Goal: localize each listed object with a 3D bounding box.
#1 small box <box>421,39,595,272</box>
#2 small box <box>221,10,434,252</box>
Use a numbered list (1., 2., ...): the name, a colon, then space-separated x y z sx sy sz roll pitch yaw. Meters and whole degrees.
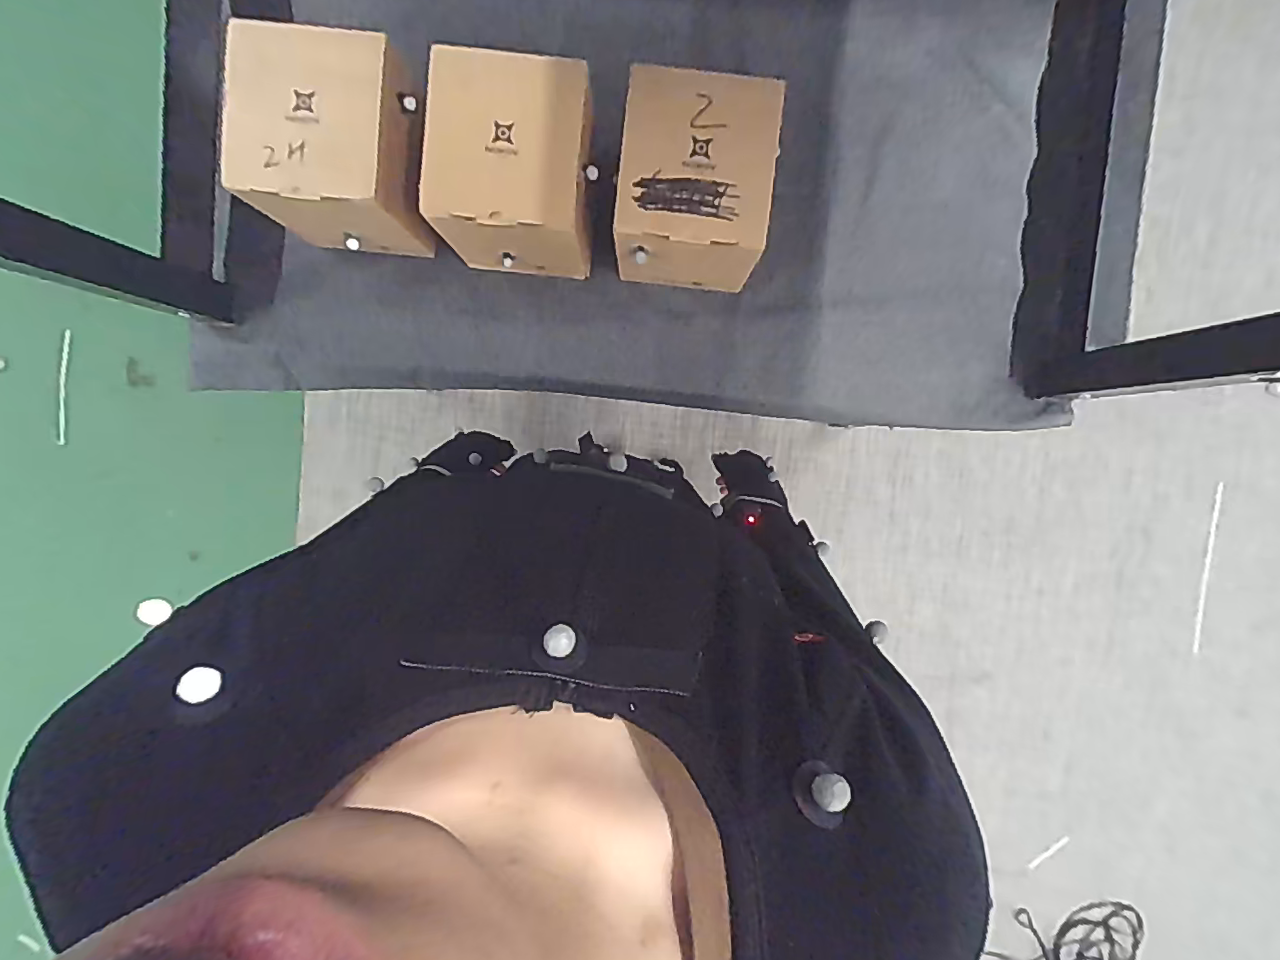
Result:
1. small box: -0.145 -0.372 0.650 0.168 0.176 0.179 6 94 -1
2. small box: -0.351 -0.397 0.645 0.168 0.176 0.179 5 94 -1
